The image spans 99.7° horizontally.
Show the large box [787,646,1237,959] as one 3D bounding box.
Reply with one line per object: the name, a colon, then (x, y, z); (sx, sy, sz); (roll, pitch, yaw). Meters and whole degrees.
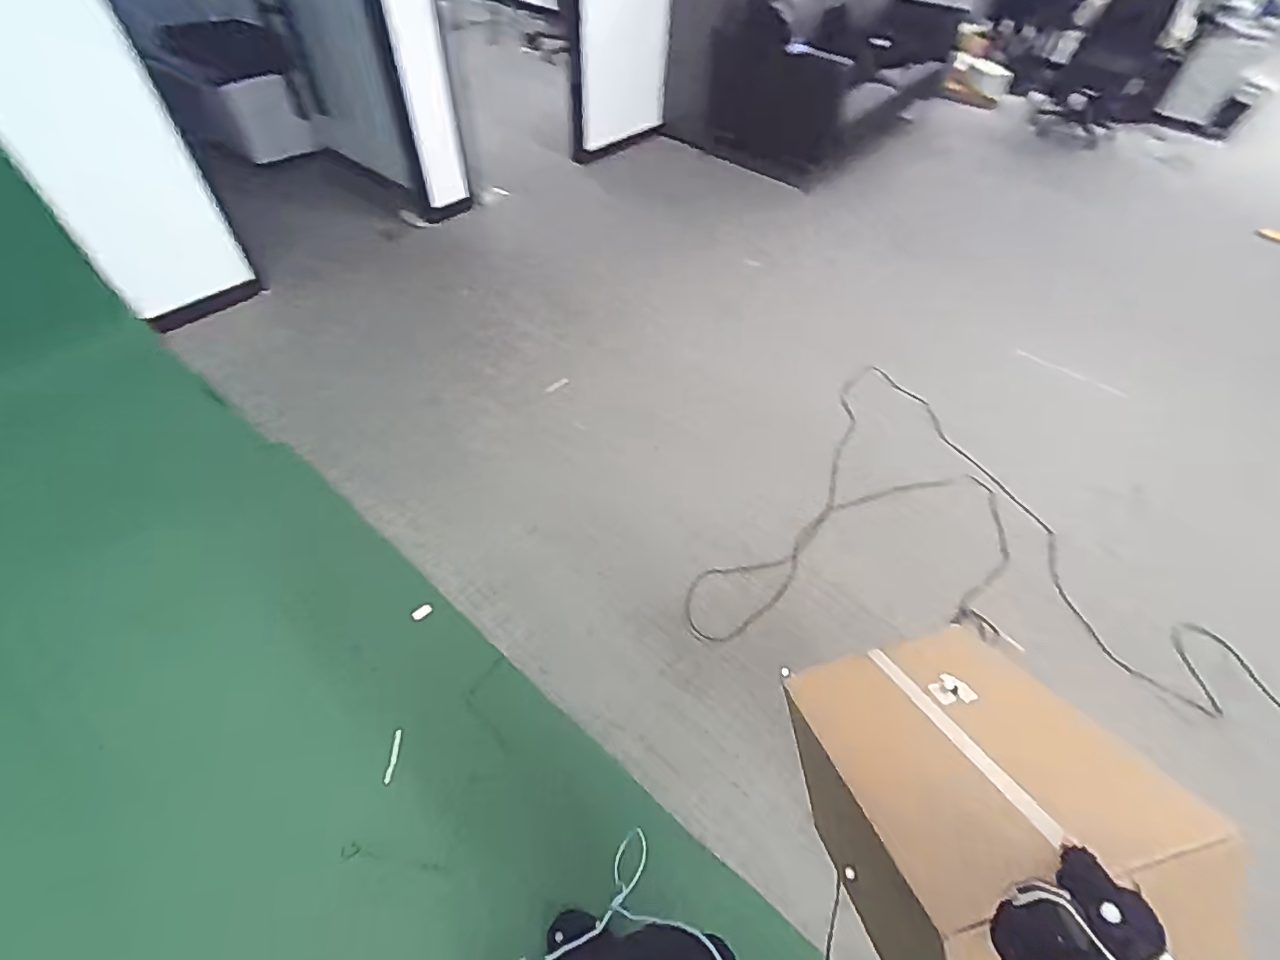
large box: (0.444, 0.497, 0.732); (0.320, 0.320, 0.408); (-14, 14, -2)
